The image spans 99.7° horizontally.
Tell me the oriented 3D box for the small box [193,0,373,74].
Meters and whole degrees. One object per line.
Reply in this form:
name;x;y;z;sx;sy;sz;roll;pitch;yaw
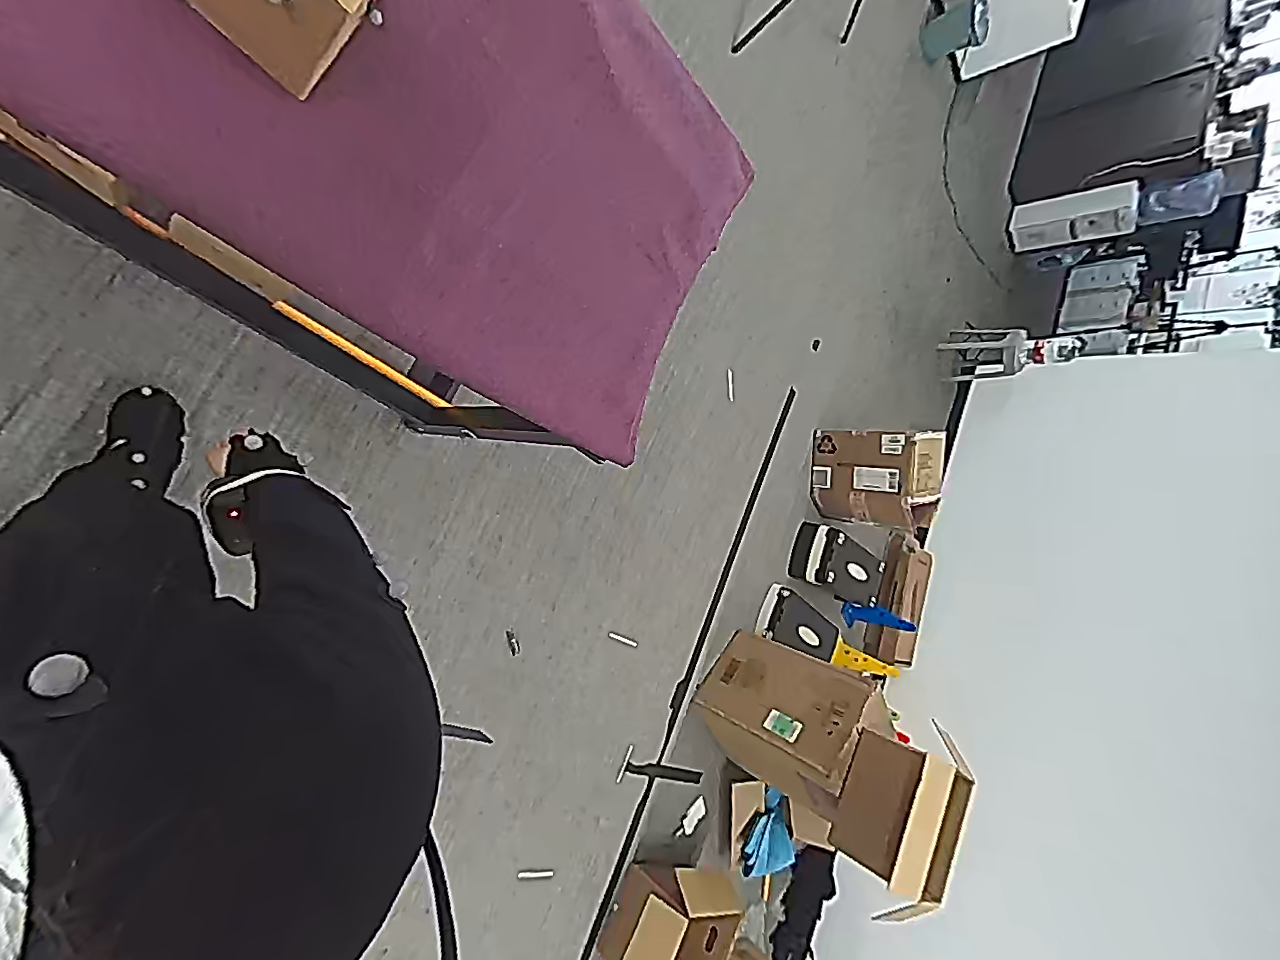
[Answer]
small box;-0.298;-0.476;0.435;0.179;0.176;0.168;36;70;-41
